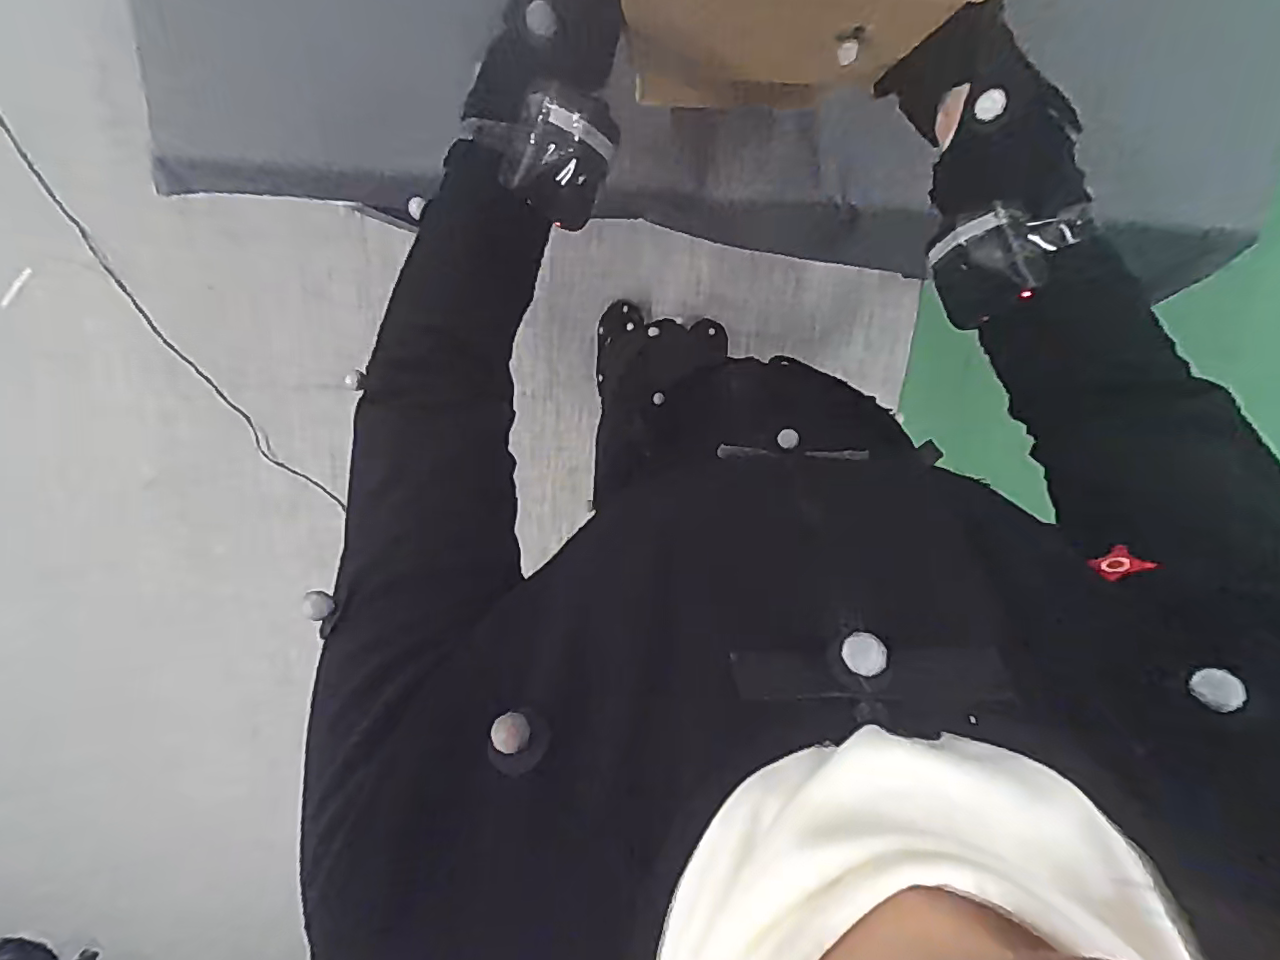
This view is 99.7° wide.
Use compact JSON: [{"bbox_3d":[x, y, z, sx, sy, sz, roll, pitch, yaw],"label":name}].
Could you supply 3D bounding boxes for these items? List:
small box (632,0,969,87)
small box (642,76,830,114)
[{"bbox_3d":[0.083,-0.330,0.282,0.179,0.176,0.168,-1,110,1],"label":"small box"},{"bbox_3d":[0.087,-0.419,0.441,0.179,0.176,0.168,-1,109,1],"label":"small box"}]
